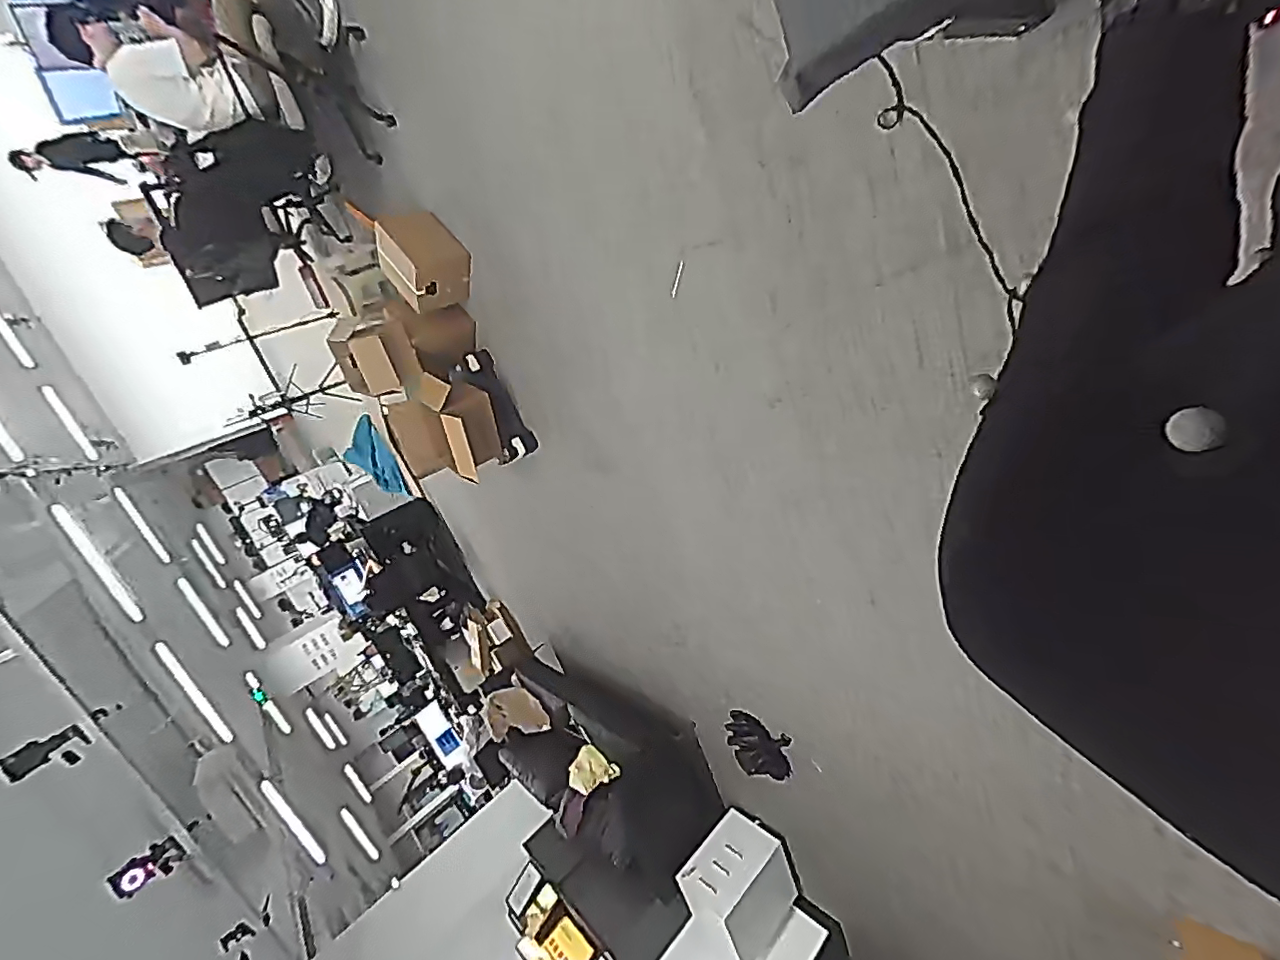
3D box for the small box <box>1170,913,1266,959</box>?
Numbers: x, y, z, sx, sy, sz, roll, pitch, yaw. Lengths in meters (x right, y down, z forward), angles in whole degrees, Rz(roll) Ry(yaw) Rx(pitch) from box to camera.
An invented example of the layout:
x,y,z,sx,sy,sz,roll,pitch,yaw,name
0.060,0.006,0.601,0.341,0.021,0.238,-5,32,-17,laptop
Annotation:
x,y,z,sx,sy,sz,roll,pitch,yaw,name
1.646,1.403,1.541,0.179,0.176,0.168,7,122,52,small box
